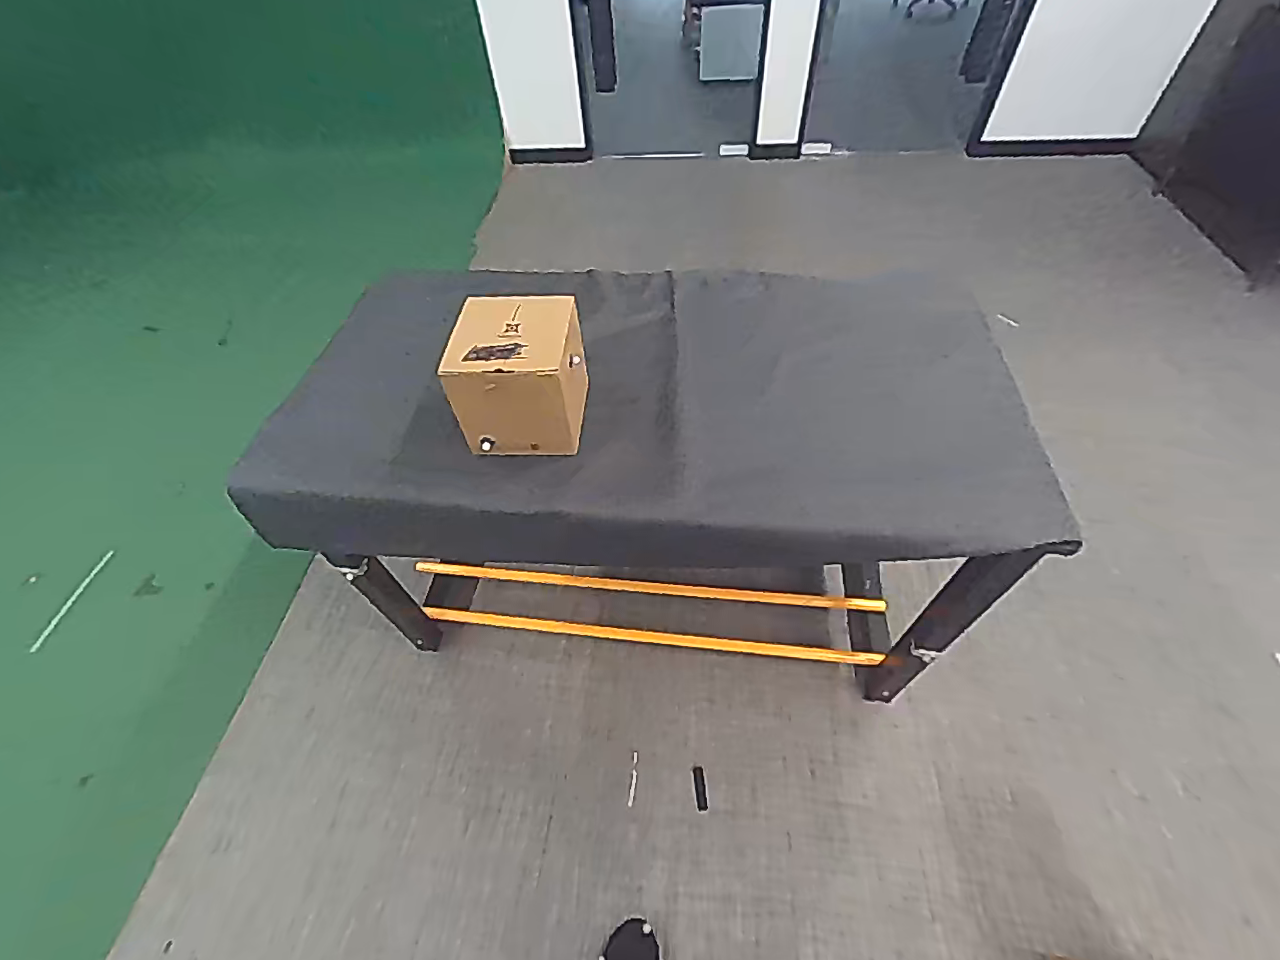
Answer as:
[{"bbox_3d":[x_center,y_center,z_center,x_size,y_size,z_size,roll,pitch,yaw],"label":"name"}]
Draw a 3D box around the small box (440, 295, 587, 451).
[{"bbox_3d":[-0.177,-0.158,0.823,0.168,0.176,0.179,1,51,4],"label":"small box"}]
